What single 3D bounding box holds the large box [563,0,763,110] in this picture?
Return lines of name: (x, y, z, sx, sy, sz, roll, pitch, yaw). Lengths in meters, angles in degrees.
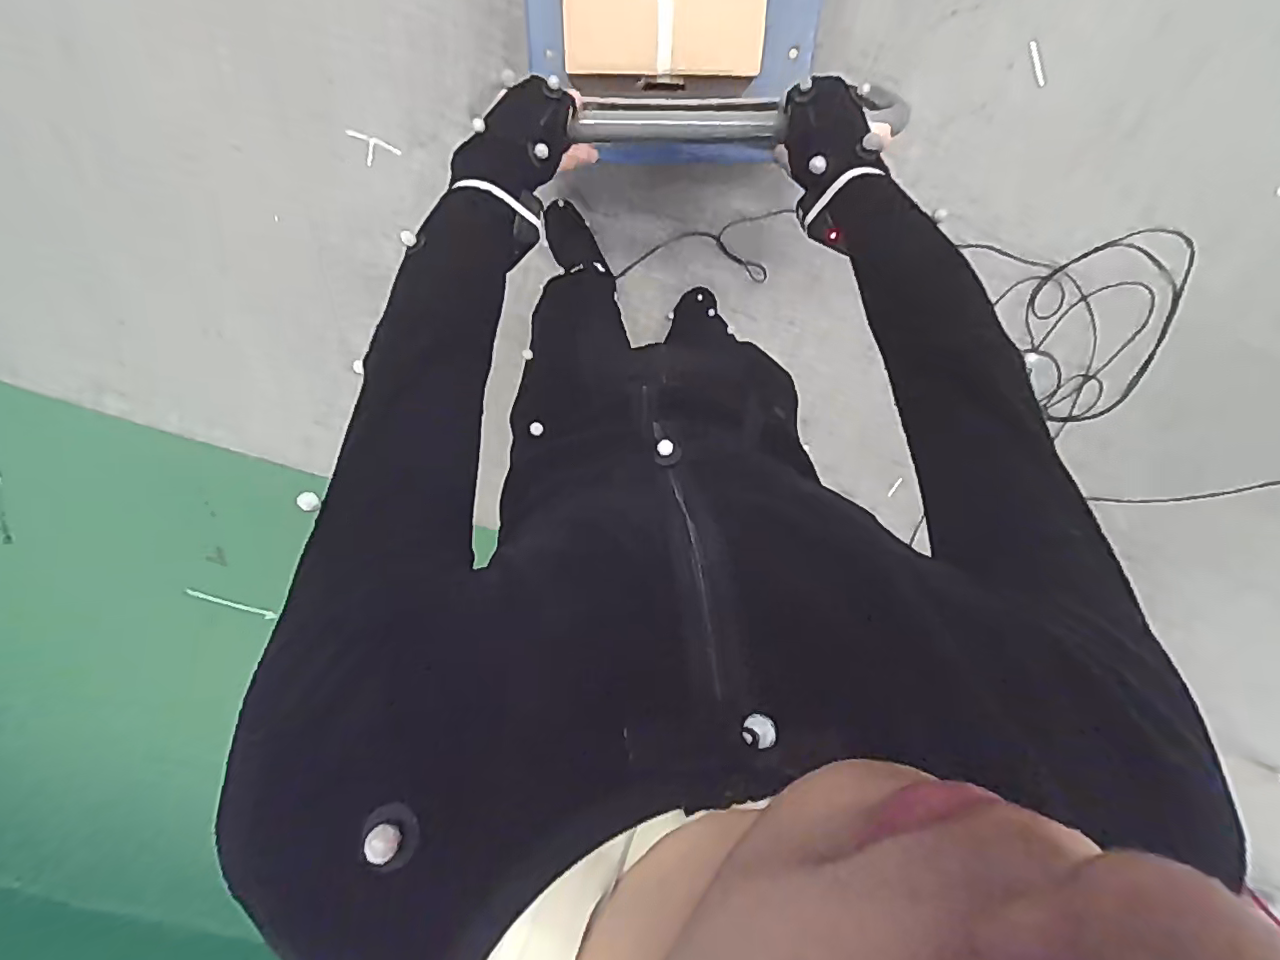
large box: (0.038, -0.900, 0.926, 0.320, 0.320, 0.408, 1, 115, 0)
